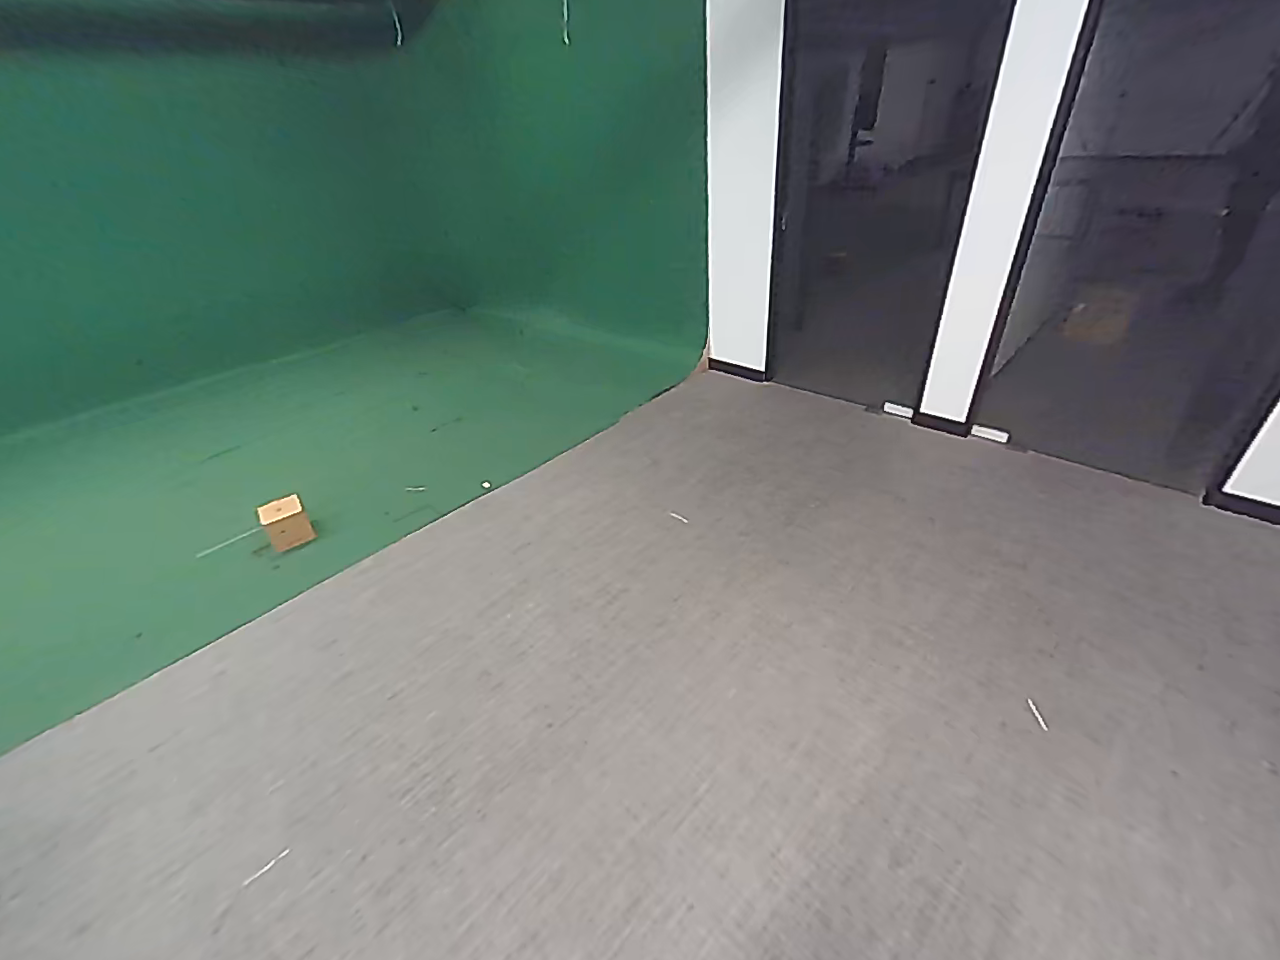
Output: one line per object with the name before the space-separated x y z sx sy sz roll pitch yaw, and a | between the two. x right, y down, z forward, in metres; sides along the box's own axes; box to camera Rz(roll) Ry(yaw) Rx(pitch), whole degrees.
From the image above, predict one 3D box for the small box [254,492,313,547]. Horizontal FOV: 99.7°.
small box | -1.639 0.187 2.490 0.168 0.176 0.179 -26 40 -29
